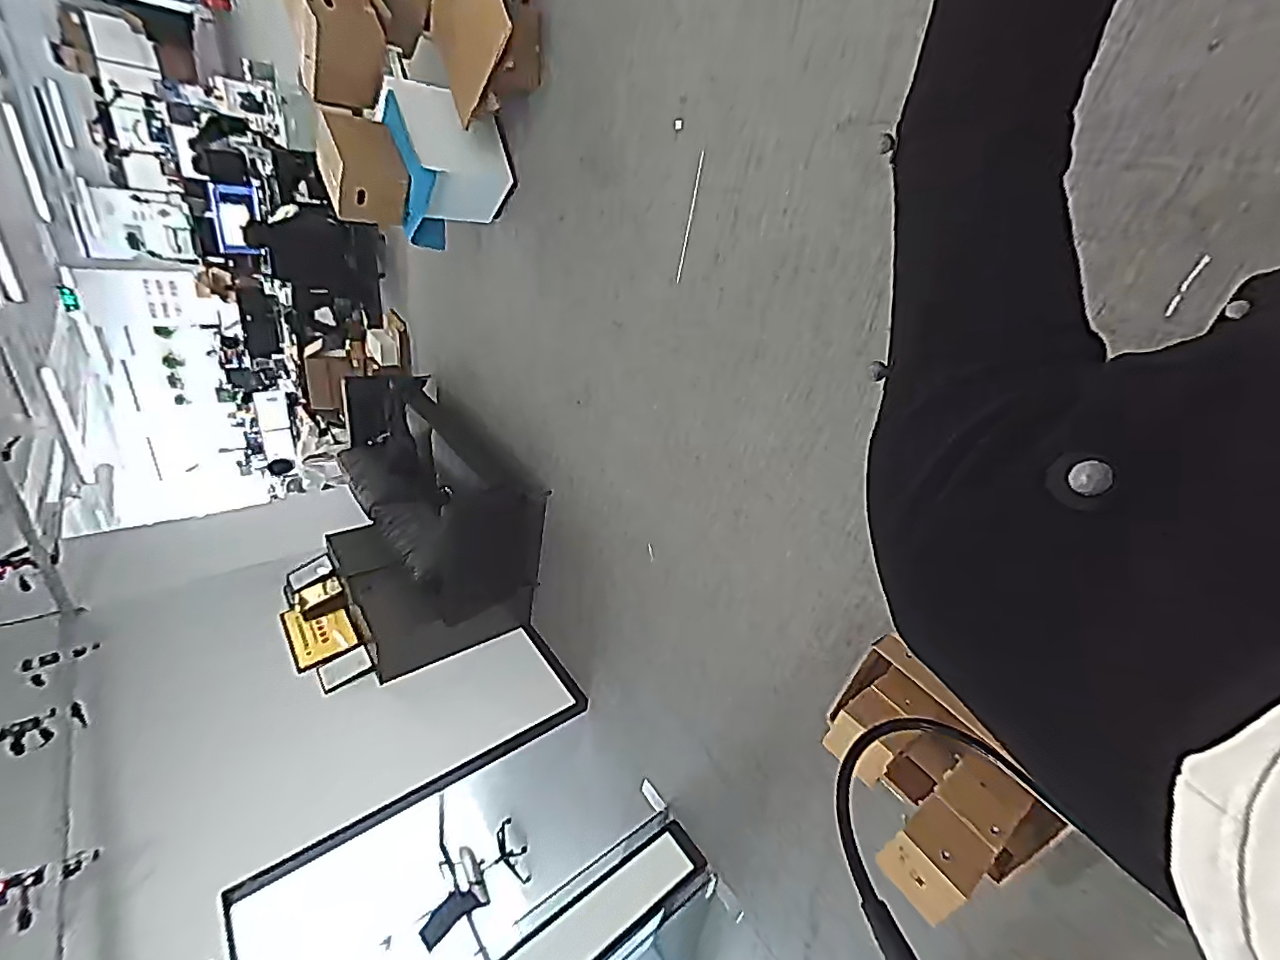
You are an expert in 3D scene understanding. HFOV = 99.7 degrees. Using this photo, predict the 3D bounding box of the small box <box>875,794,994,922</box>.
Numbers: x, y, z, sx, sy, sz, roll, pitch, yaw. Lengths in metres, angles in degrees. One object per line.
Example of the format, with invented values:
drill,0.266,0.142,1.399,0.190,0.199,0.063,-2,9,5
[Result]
small box,0.740,0.940,1.356,0.179,0.176,0.168,42,133,37

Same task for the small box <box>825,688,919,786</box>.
small box,0.700,0.764,1.626,0.179,0.176,0.168,39,129,38
